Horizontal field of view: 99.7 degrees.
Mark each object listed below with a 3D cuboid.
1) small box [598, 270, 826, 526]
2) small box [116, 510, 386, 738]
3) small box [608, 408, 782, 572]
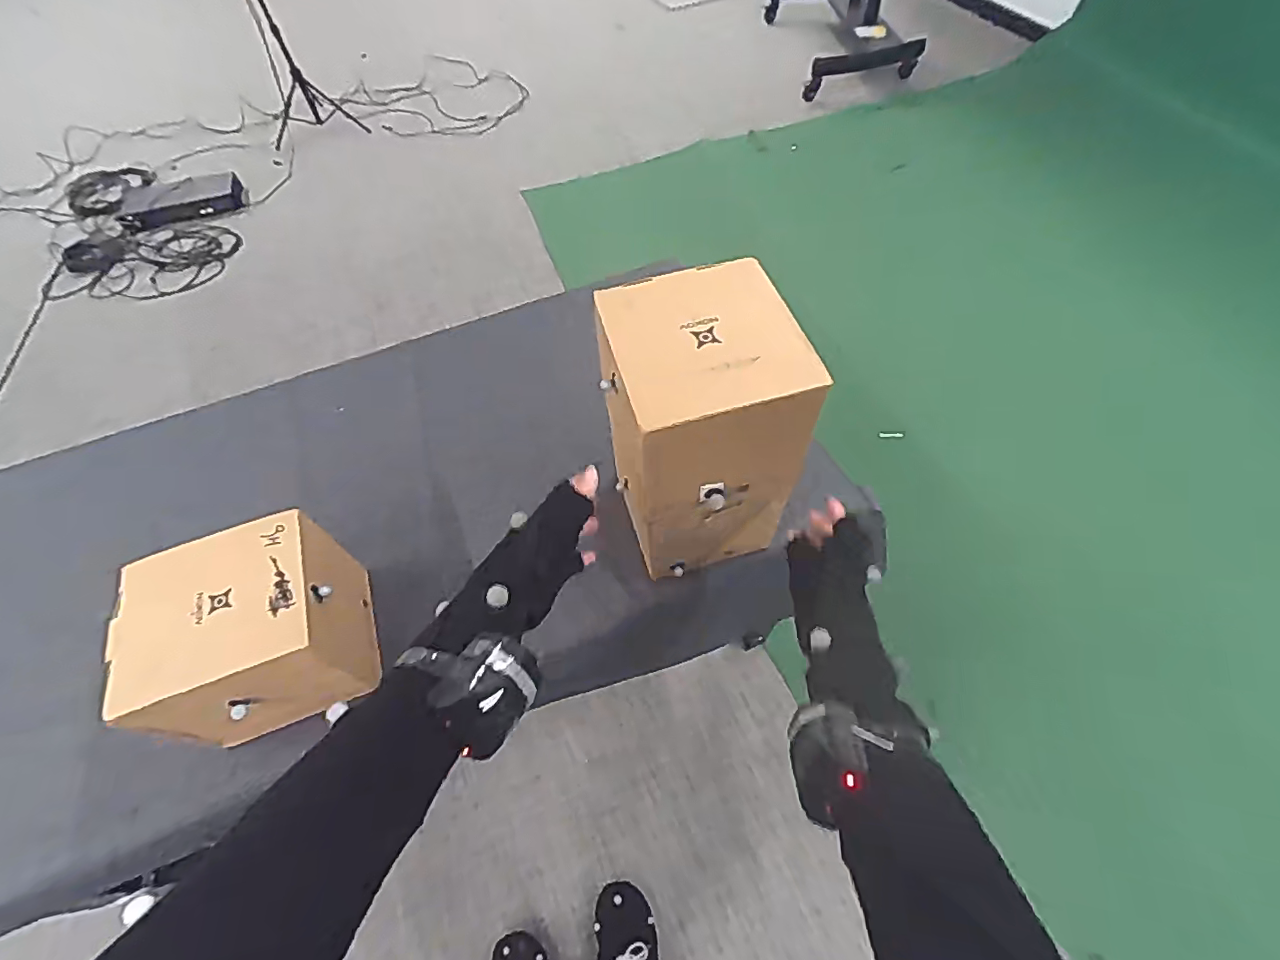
[{"bbox_3d":[0.060,-0.080,0.557,0.168,0.176,0.179,-15,60,-6],"label":"small box"},{"bbox_3d":[-0.415,0.167,0.606,0.179,0.176,0.168,-20,58,-11],"label":"small box"},{"bbox_3d":[0.065,0.003,0.696,0.168,0.176,0.179,-15,58,-7],"label":"small box"}]
